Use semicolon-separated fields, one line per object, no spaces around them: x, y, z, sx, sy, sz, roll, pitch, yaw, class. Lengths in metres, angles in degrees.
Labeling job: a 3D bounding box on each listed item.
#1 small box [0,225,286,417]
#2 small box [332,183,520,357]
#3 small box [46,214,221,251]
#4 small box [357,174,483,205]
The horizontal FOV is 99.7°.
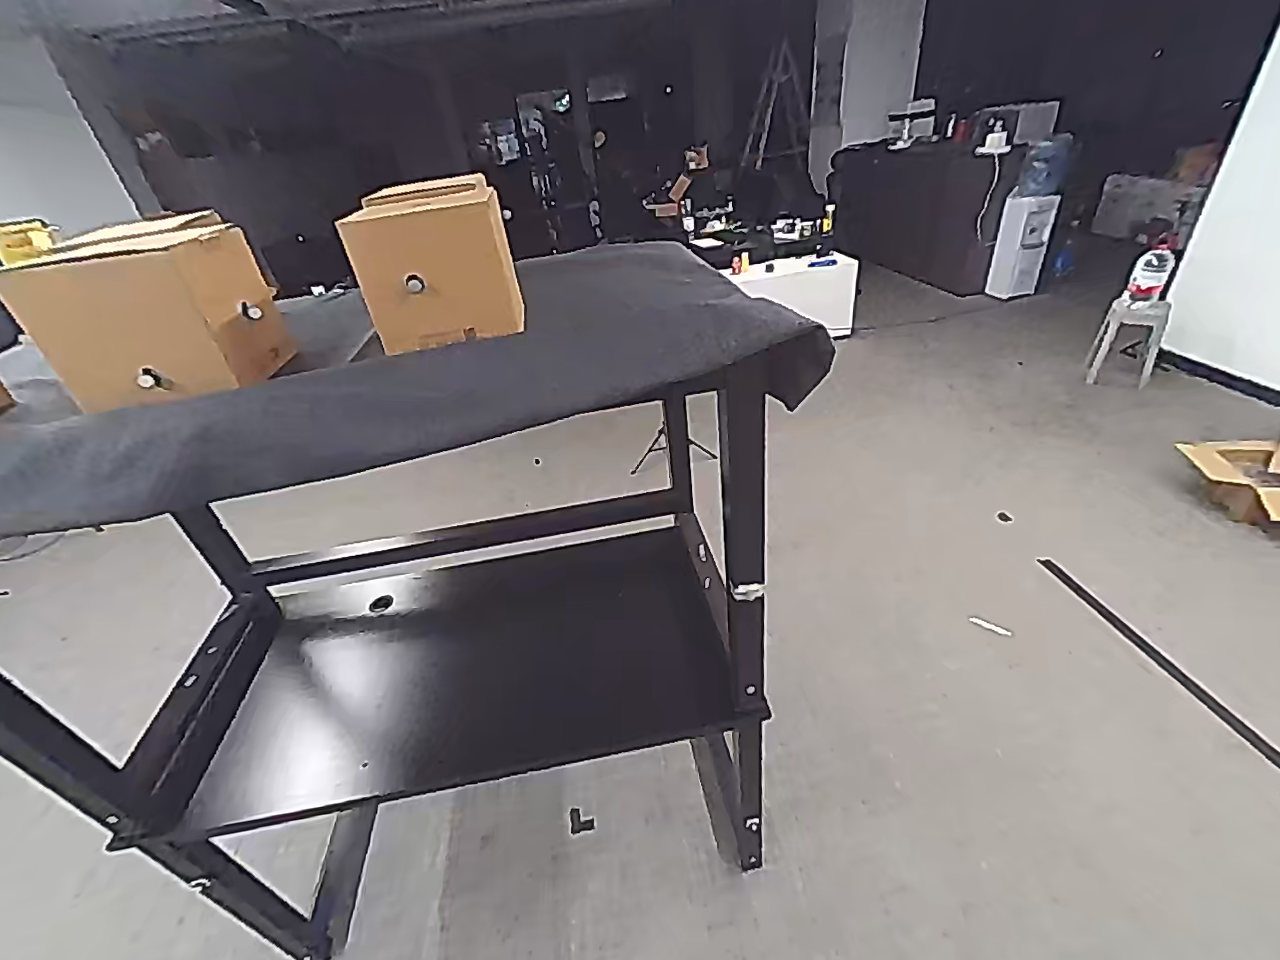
-0.565;-0.191;0.641;0.179;0.176;0.168;-10;32;-5;small box
-0.254;-0.267;0.691;0.168;0.176;0.179;-12;33;-6;small box
-0.763;-0.319;0.876;0.168;0.176;0.179;-15;34;-9;small box
-0.342;-0.412;0.924;0.179;0.176;0.168;-11;34;-4;small box
